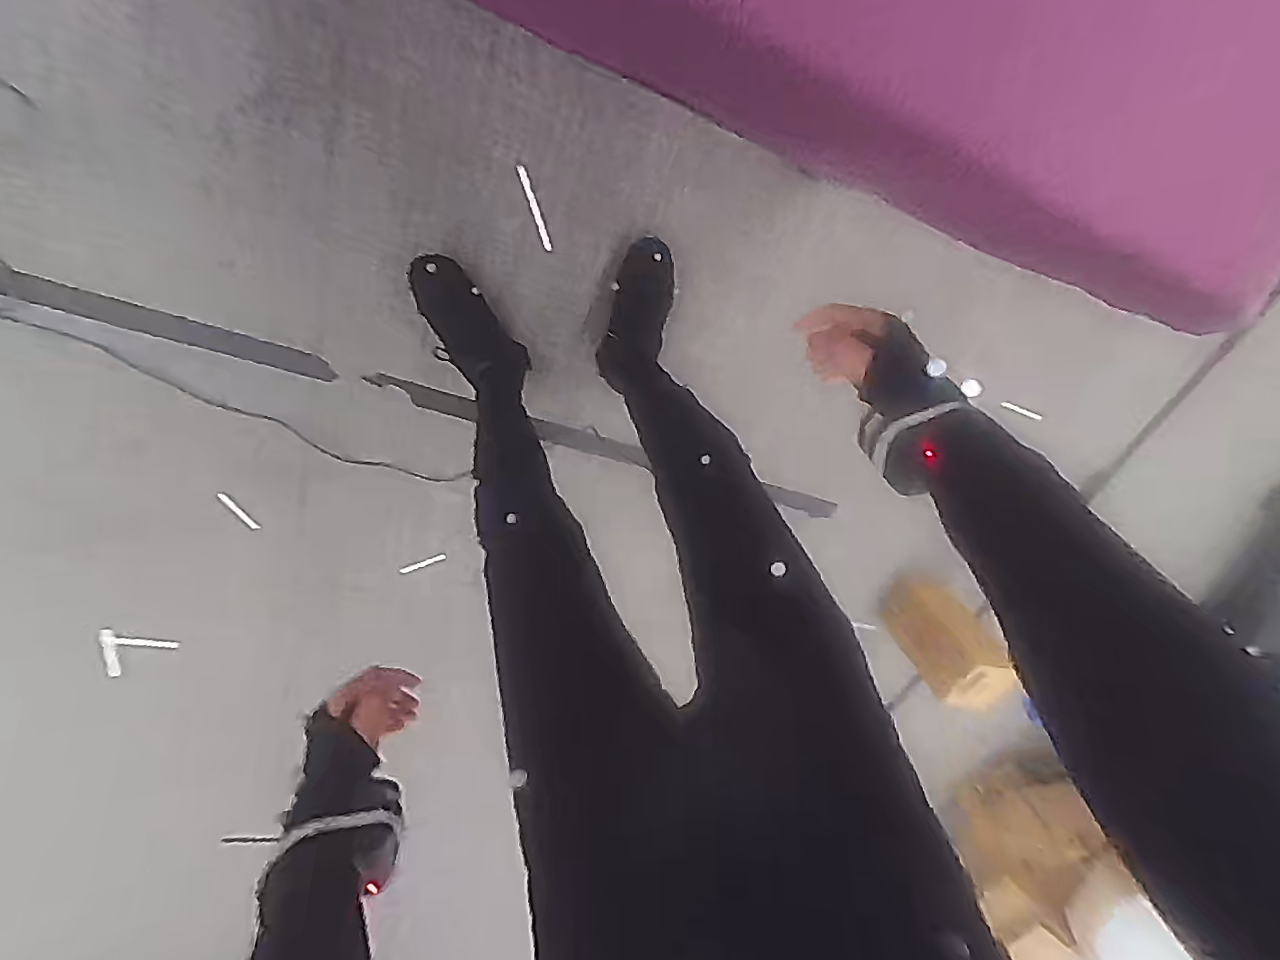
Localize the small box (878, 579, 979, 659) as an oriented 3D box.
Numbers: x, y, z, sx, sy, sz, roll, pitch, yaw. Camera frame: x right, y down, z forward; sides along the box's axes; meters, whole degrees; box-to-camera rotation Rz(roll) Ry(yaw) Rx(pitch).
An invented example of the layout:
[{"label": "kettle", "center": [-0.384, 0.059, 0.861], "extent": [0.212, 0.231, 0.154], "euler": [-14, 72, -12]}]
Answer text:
[{"label": "small box", "center": [0.878, 0.425, 1.661], "extent": [0.179, 0.176, 0.168], "euler": [11, 121, -17]}]
